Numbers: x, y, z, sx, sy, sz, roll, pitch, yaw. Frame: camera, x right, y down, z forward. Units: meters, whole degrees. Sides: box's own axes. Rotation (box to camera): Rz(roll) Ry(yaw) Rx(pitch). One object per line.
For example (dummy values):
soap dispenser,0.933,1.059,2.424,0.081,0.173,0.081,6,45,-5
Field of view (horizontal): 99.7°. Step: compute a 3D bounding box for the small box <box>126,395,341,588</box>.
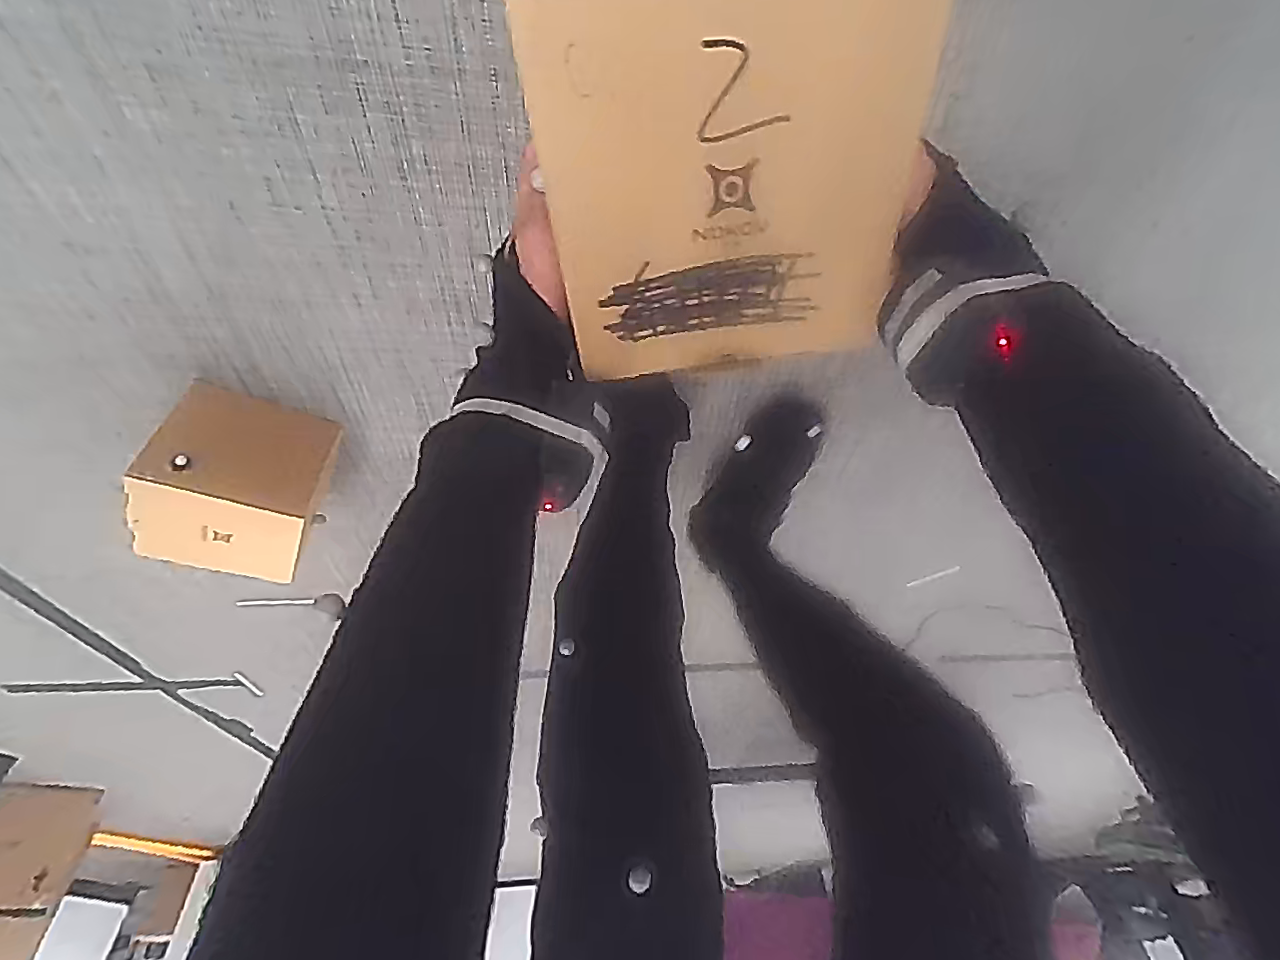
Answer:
small box,-0.516,0.016,0.709,0.179,0.176,0.168,19,133,-24
